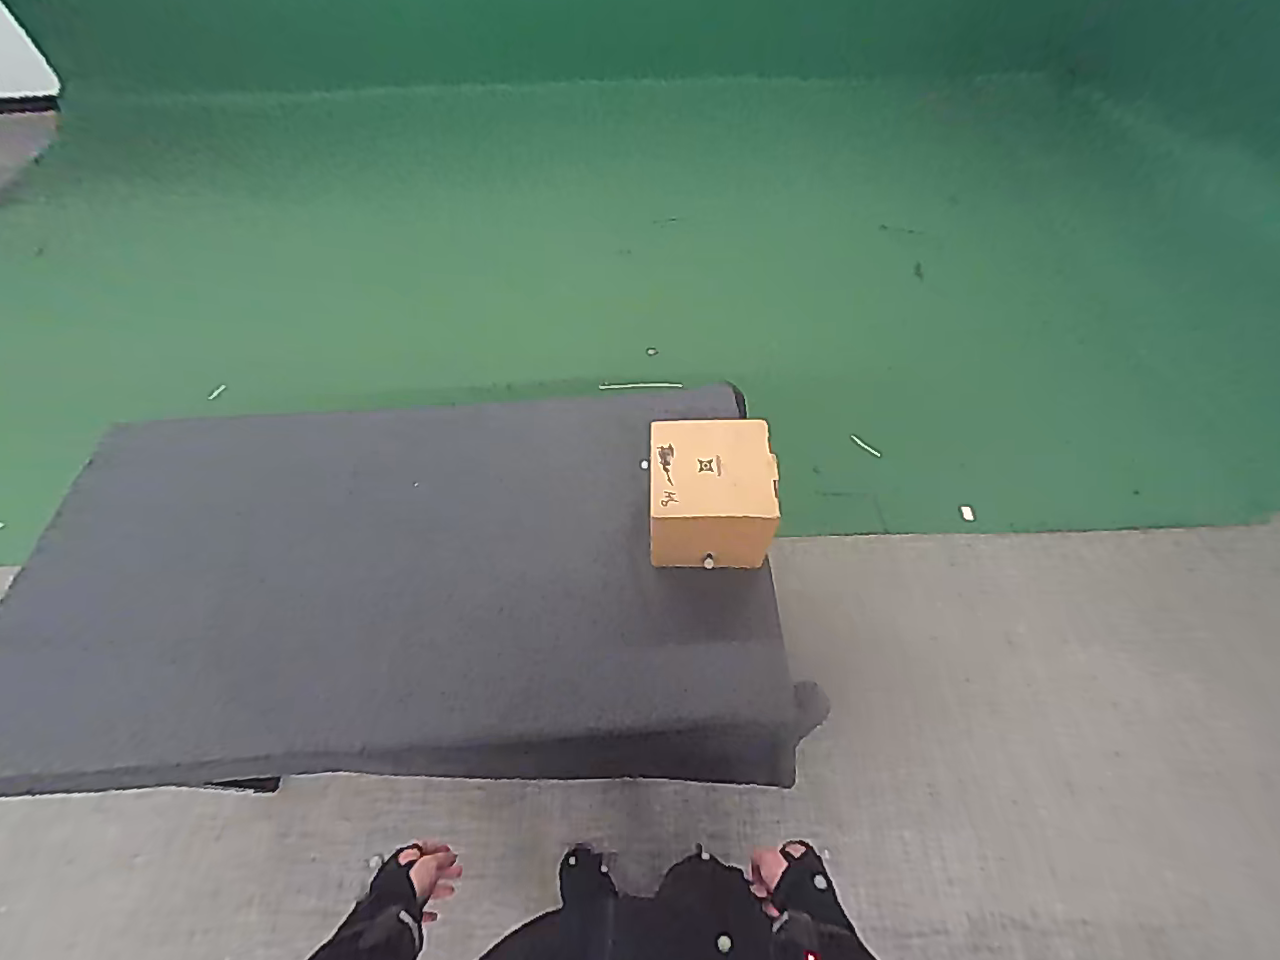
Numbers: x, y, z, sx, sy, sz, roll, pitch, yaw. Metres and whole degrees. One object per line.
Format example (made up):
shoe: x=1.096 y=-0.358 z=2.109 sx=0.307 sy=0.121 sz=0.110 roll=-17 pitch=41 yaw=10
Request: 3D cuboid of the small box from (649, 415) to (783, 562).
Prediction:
small box: x=0.106 y=0.018 z=0.826 sx=0.179 sy=0.176 sz=0.168 roll=1 pitch=59 yaw=0
